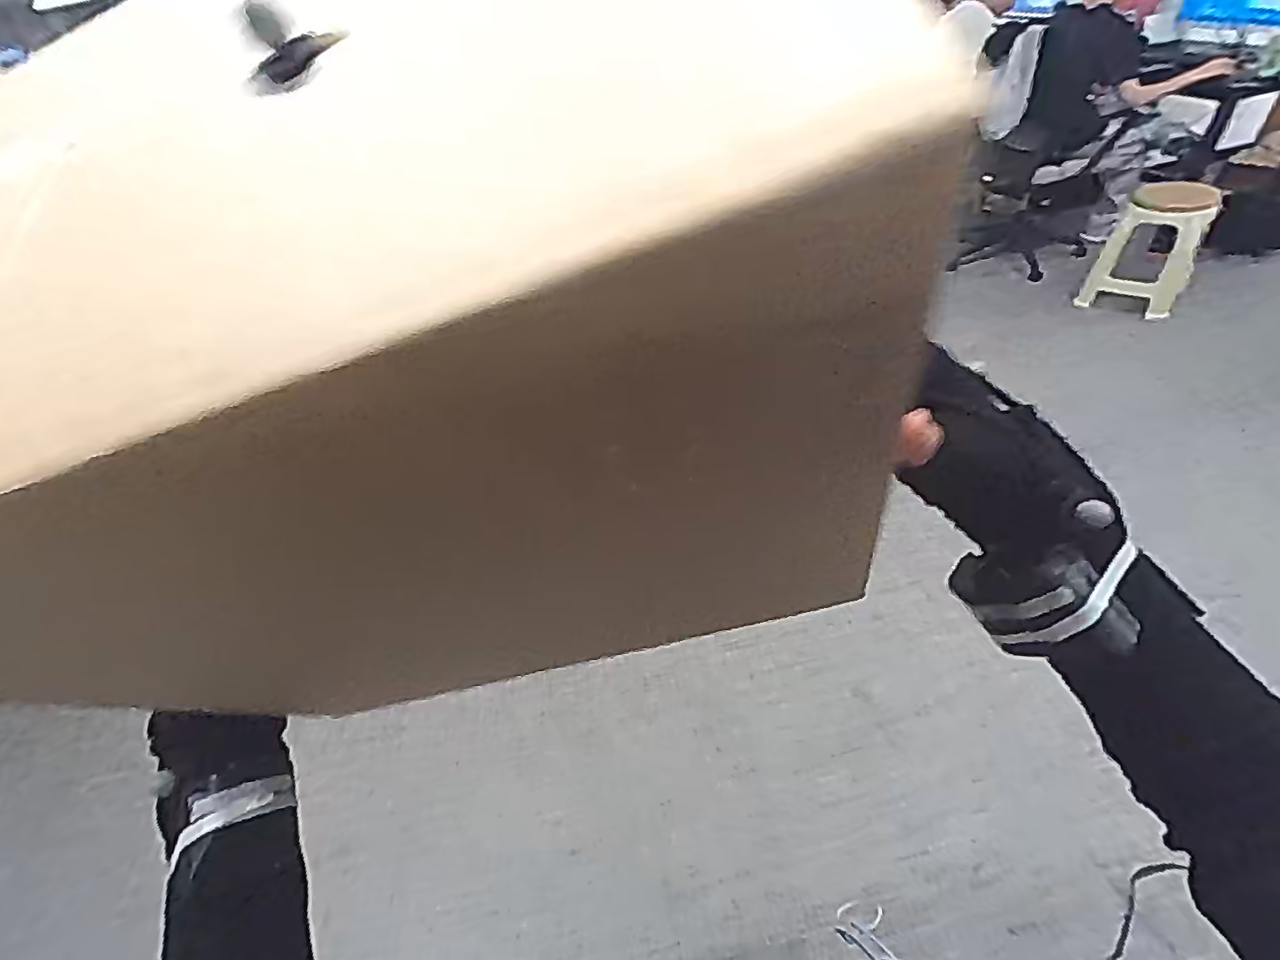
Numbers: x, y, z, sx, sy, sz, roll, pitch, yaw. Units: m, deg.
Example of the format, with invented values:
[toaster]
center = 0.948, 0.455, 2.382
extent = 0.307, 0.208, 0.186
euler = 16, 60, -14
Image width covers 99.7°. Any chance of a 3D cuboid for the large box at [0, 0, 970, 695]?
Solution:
[large box]
center = -0.105, -0.076, 0.337
extent = 0.408, 0.320, 0.320
euler = -16, 62, 10
